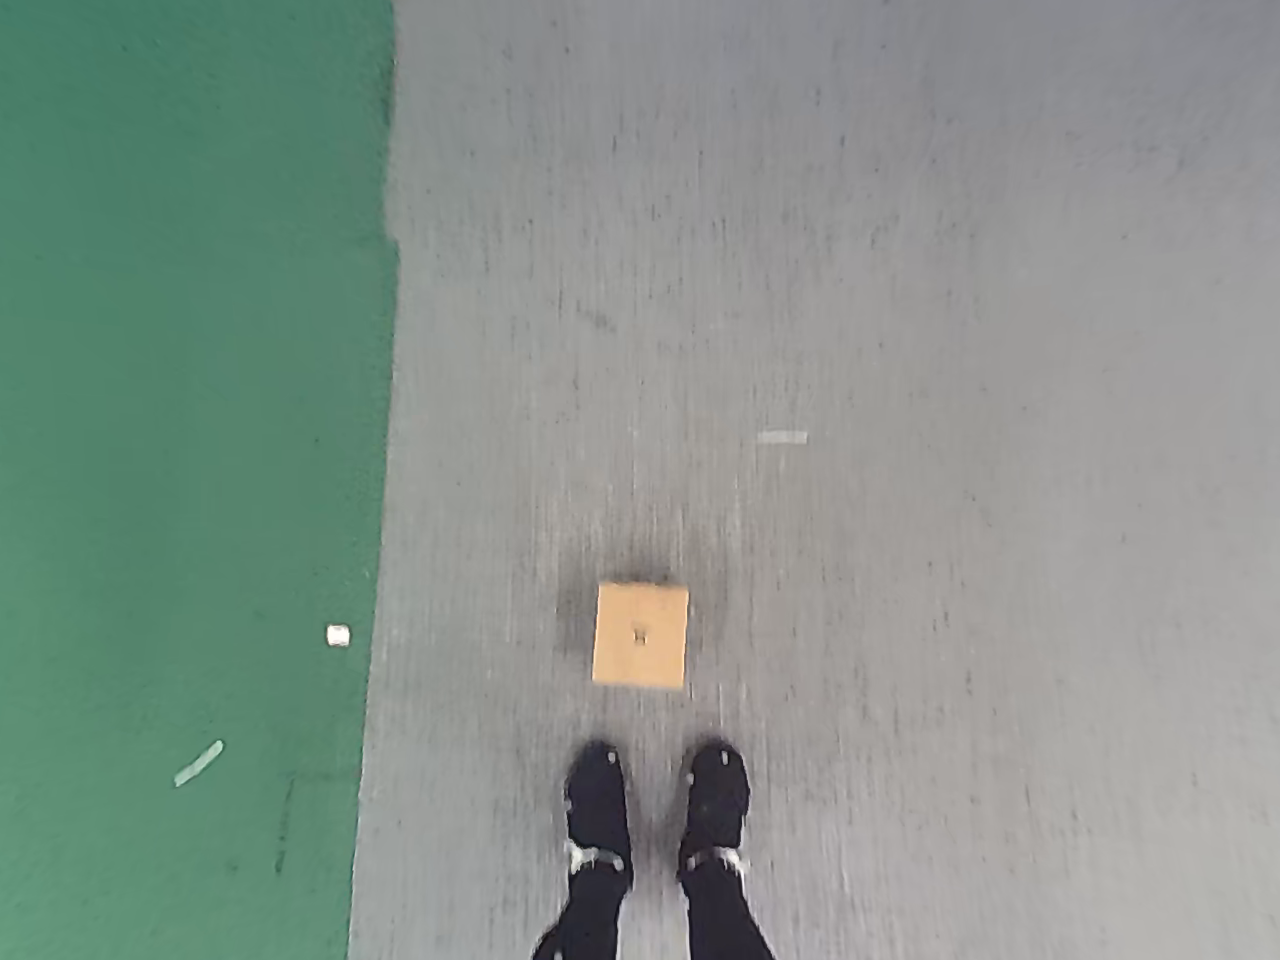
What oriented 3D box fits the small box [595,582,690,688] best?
[{"bbox_3d":[0.010,0.296,1.062,0.168,0.176,0.179,3,80,3],"label":"small box"}]
